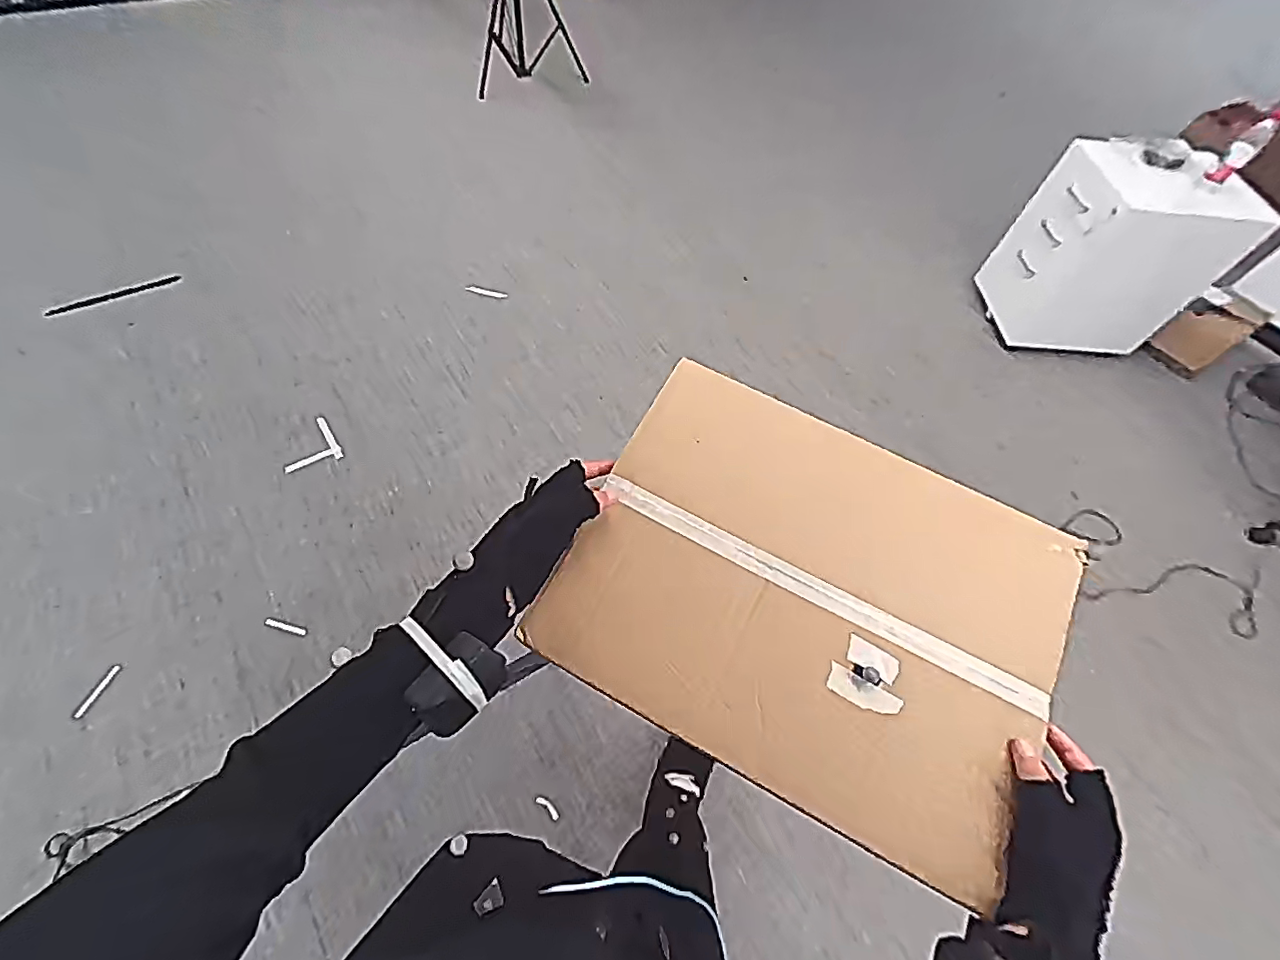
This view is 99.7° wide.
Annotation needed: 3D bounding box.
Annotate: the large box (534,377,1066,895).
[{"bbox_3d":[0.146,0.154,0.619,0.408,0.320,0.320,28,71,9],"label":"large box"}]
